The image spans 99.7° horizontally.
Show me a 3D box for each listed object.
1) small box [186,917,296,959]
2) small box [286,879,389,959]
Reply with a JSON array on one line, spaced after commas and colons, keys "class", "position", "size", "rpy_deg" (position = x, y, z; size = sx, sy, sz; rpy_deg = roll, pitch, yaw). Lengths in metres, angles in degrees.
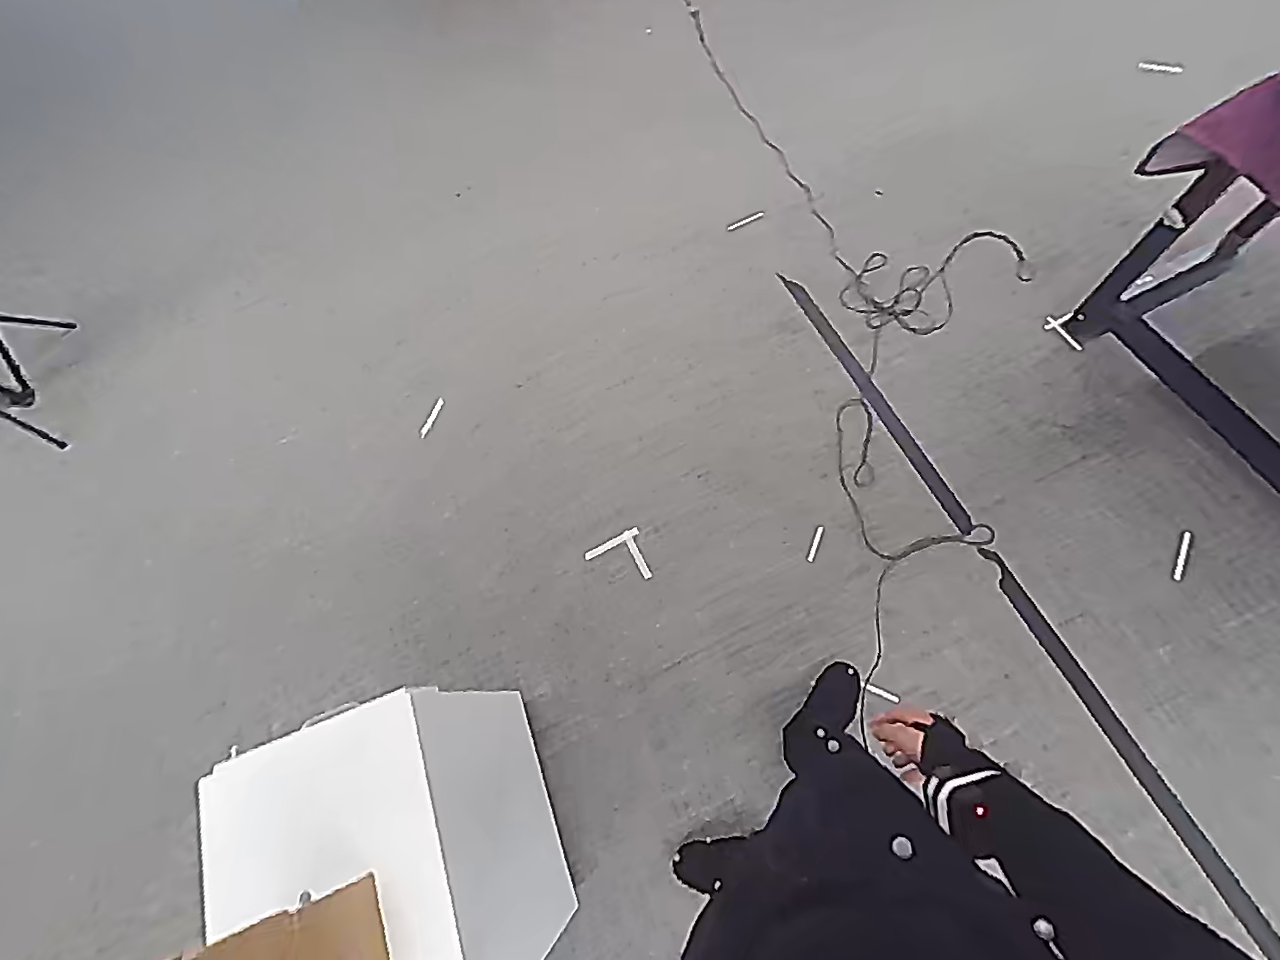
[{"class": "small box", "position": [-0.505, 0.633, 0.595], "size": [0.179, 0.176, 0.168], "rpy_deg": [-25, 67, -1]}, {"class": "small box", "position": [-0.464, 0.697, 0.739], "size": [0.168, 0.176, 0.179], "rpy_deg": [-26, 66, -2]}]
